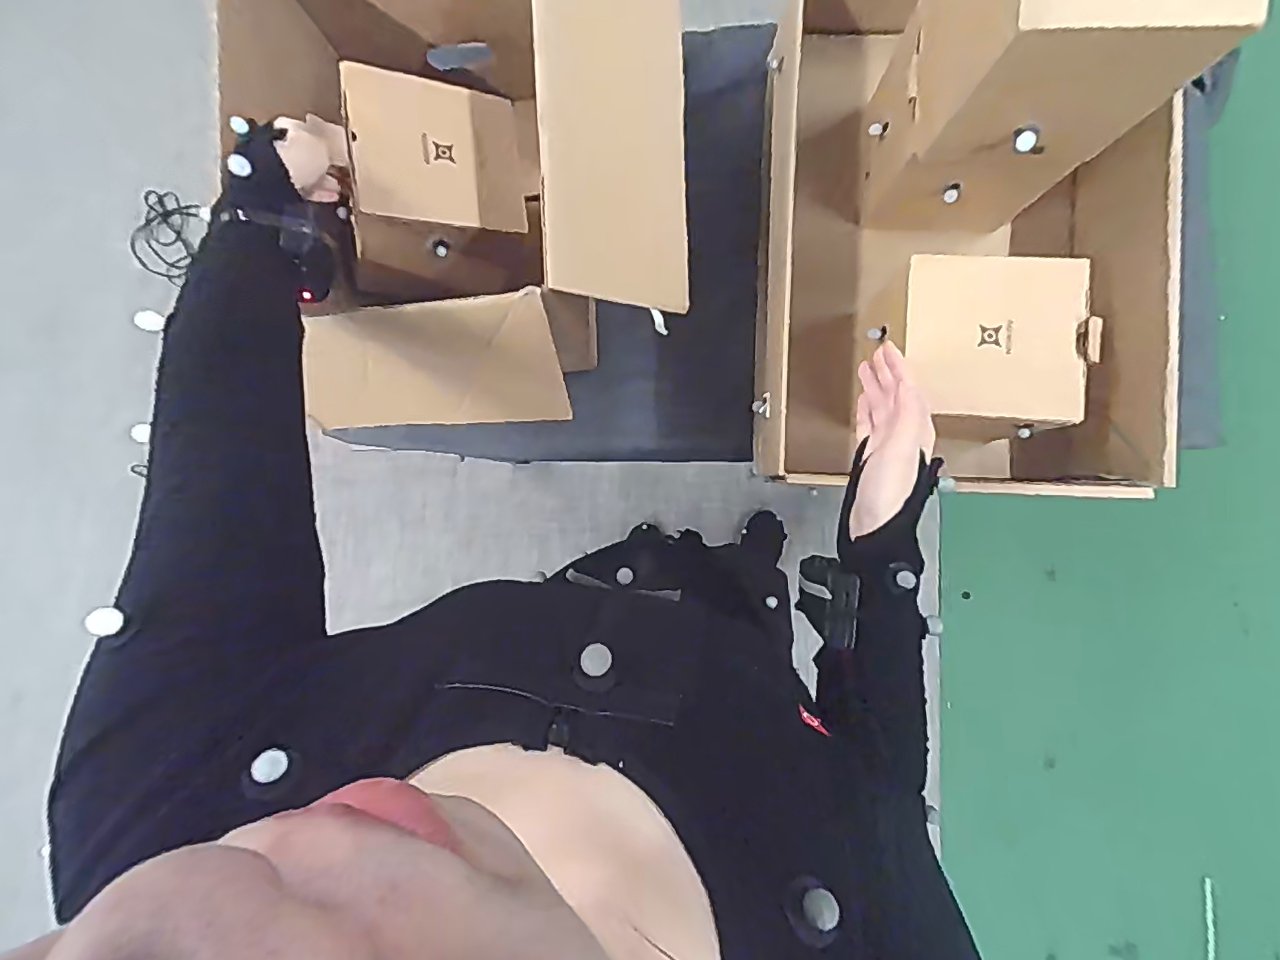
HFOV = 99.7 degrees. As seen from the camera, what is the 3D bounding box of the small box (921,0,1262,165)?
[{"bbox_3d":[0.362,-0.406,0.463,0.168,0.176,0.179,3,91,5],"label":"small box"}]
